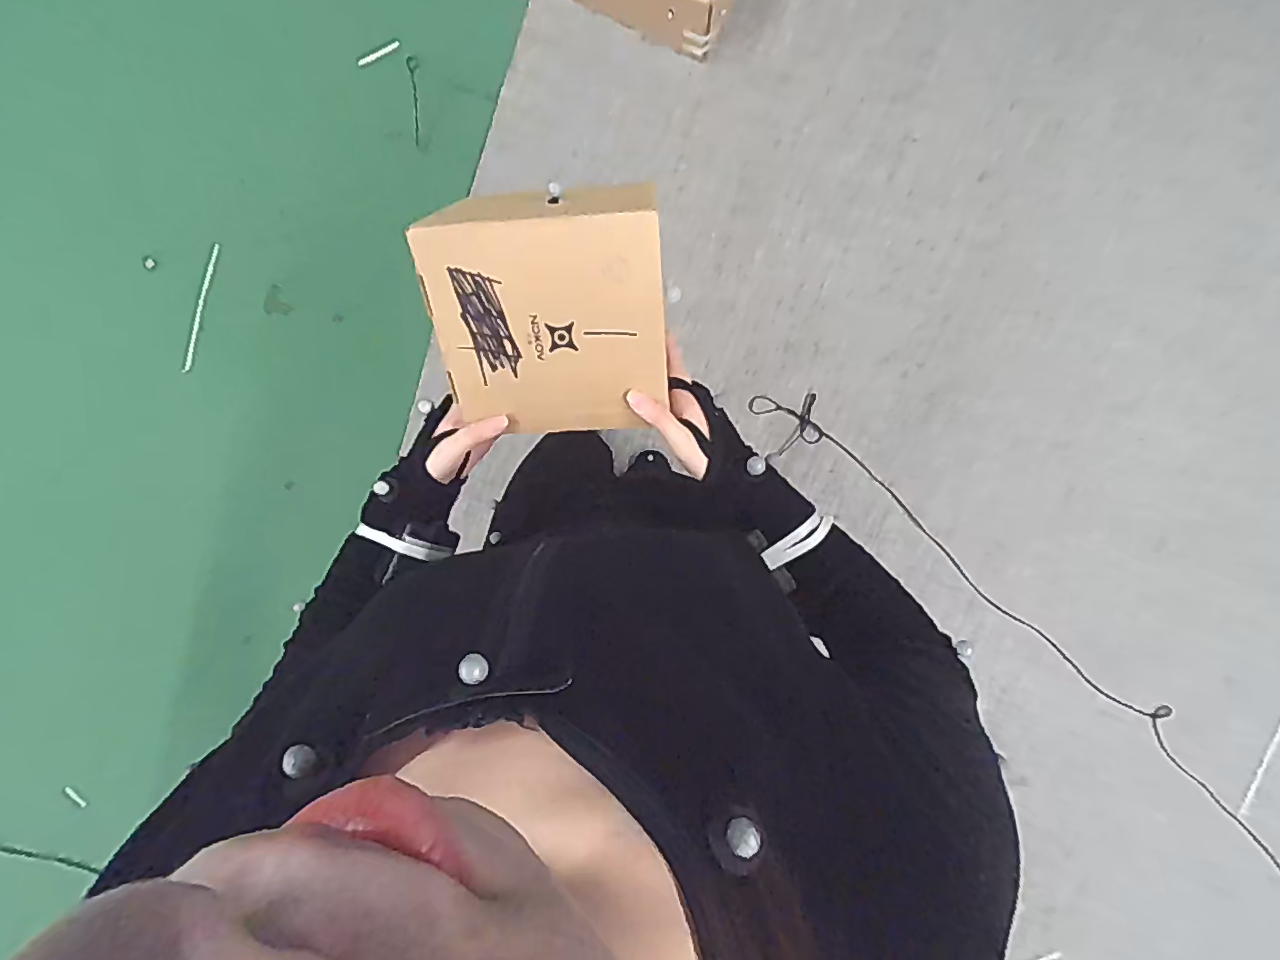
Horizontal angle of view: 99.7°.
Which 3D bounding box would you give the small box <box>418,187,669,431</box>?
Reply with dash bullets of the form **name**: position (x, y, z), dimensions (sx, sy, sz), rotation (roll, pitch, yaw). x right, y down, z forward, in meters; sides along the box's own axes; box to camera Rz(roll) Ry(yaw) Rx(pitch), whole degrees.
- **small box**: position (-0.064, -0.157, 0.479), dimensions (0.179, 0.176, 0.168), rotation (-3, 124, 1)
